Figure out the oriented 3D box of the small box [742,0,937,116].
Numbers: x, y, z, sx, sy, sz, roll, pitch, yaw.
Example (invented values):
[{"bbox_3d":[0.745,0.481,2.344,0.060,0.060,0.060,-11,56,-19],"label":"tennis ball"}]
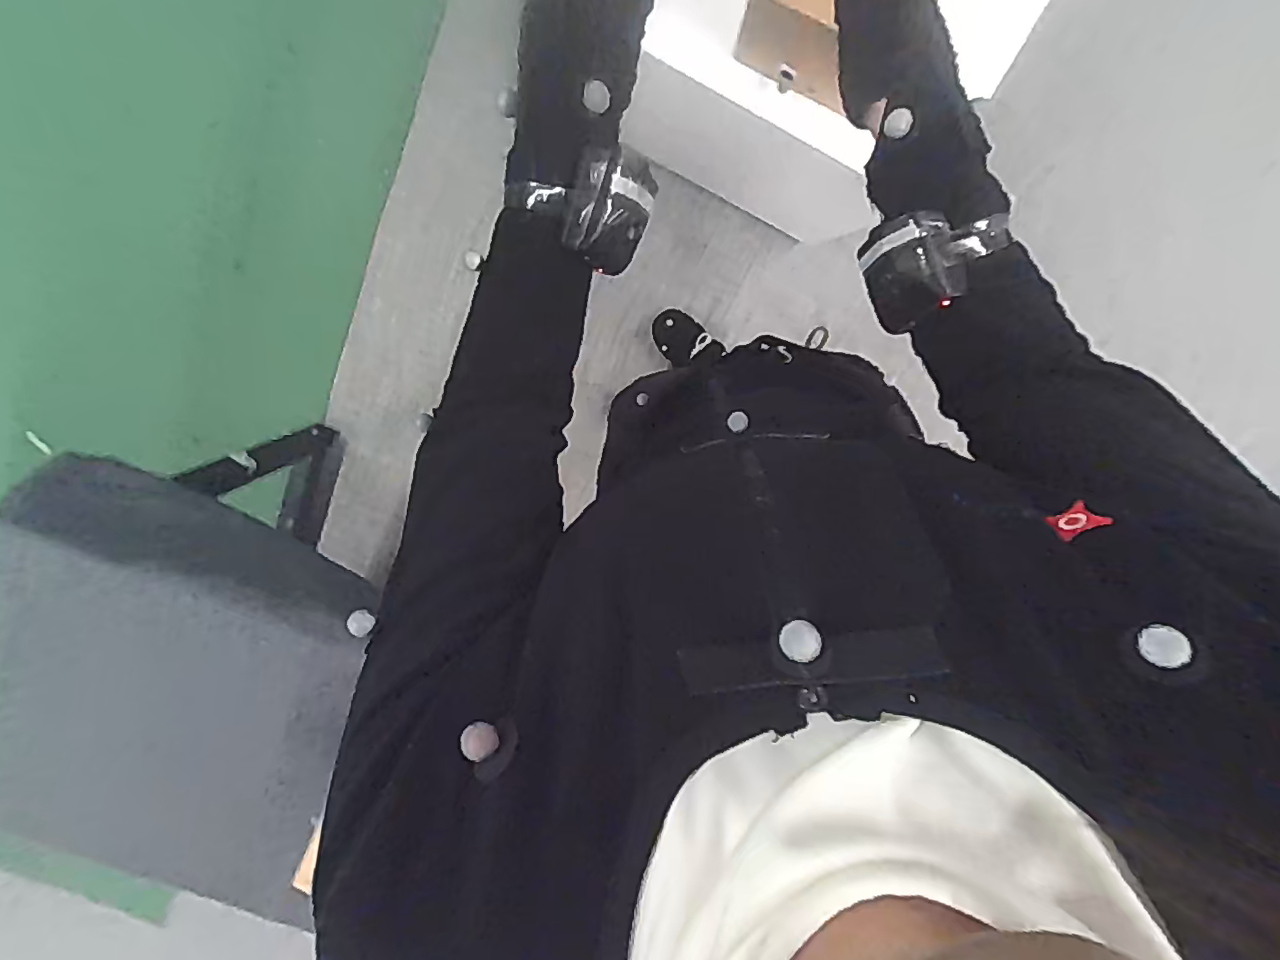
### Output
[{"bbox_3d":[0.218,-0.527,0.564,0.168,0.176,0.179,23,109,-4],"label":"small box"}]
